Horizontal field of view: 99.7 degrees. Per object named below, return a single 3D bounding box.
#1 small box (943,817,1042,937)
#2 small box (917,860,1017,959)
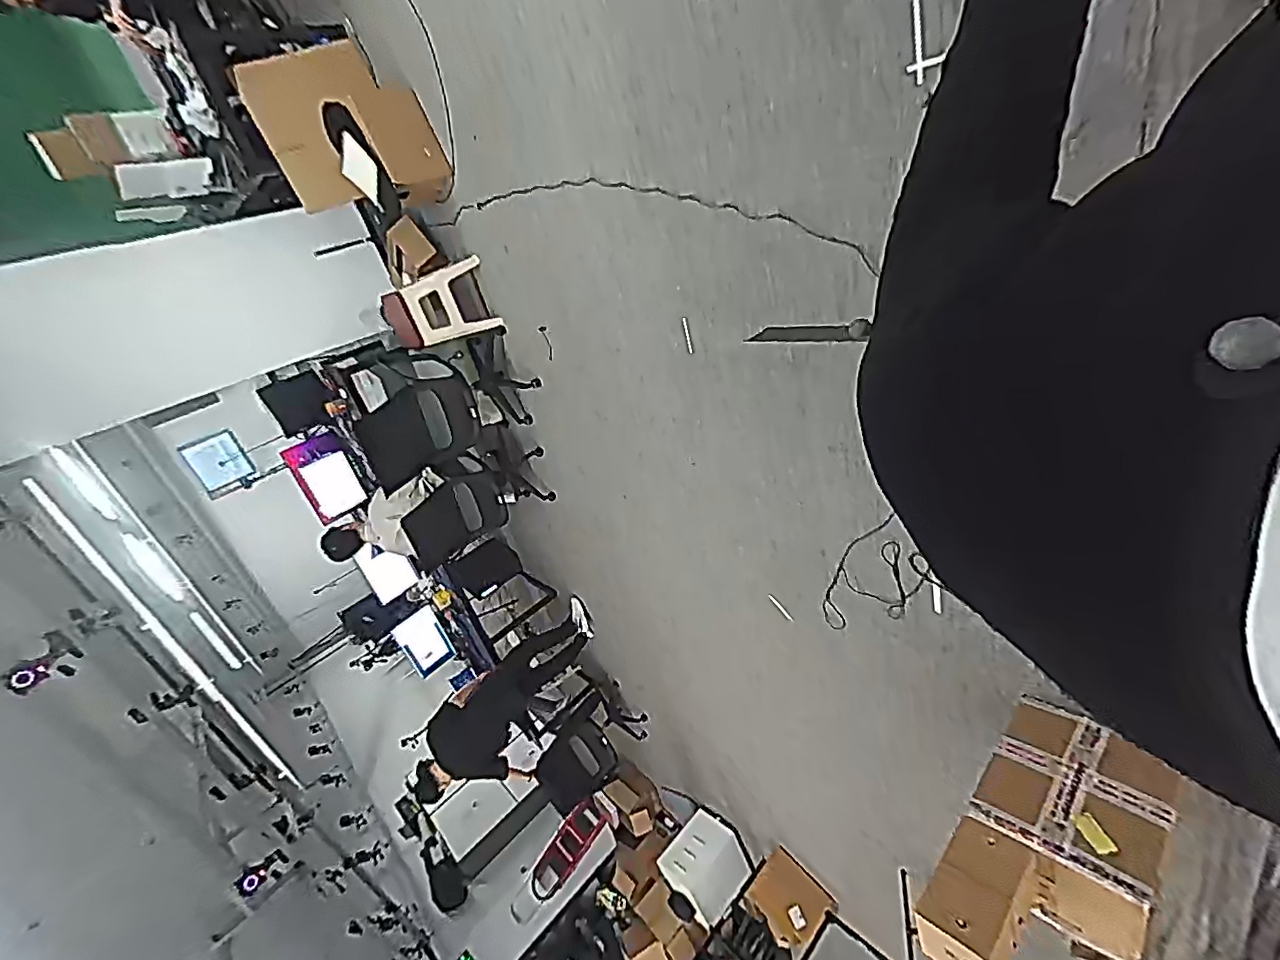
[{"bbox_3d":[0.969,1.074,1.486,0.179,0.176,0.168,6,120,52],"label":"small box"},{"bbox_3d":[0.849,1.141,1.394,0.179,0.176,0.168,6,120,52],"label":"small box"}]
